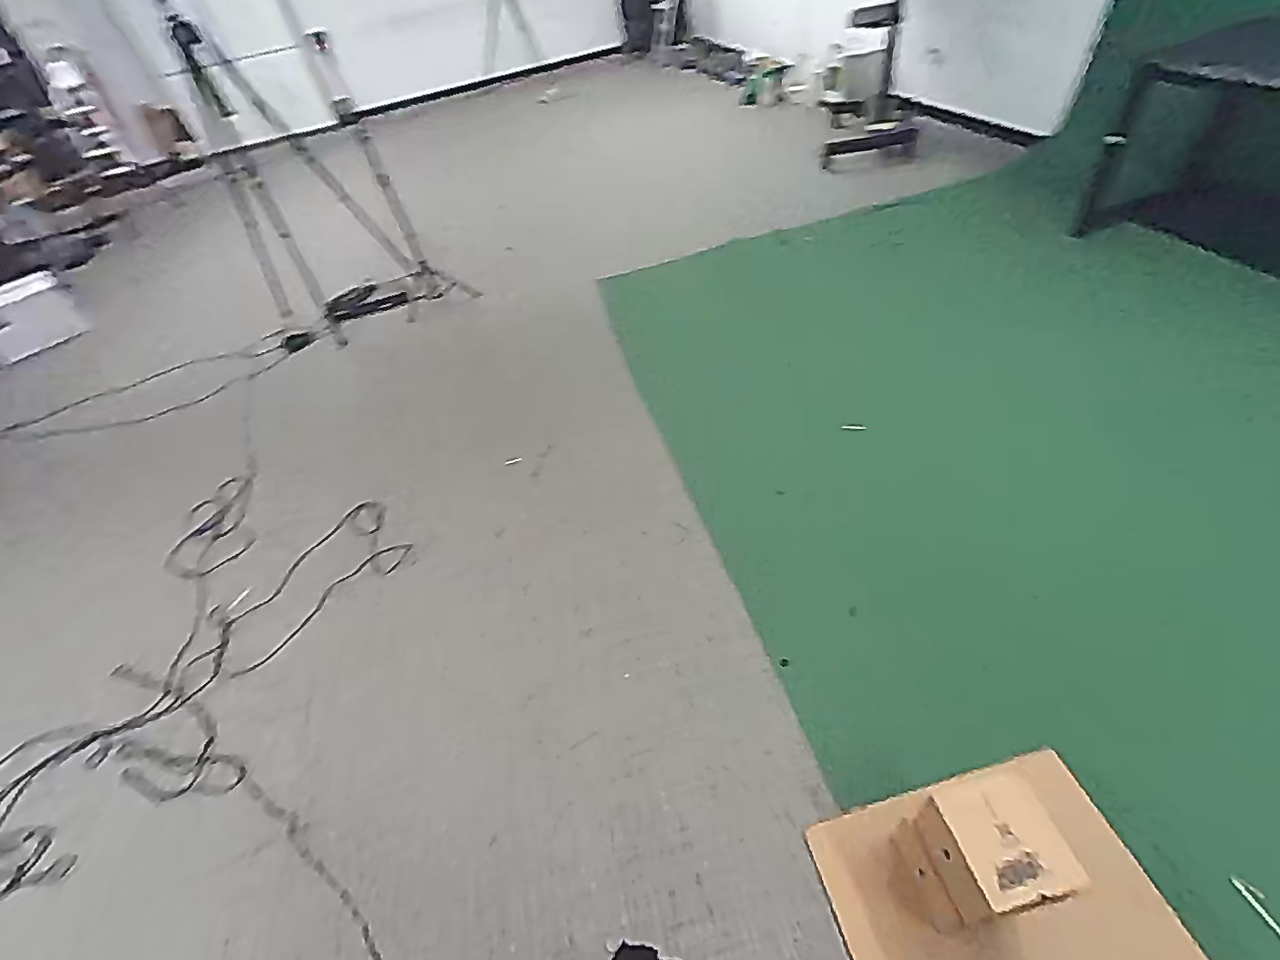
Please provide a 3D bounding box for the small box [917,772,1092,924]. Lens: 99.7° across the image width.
[{"bbox_3d":[0.616,0.646,0.943,0.168,0.176,0.179,-14,43,-1],"label":"small box"}]
